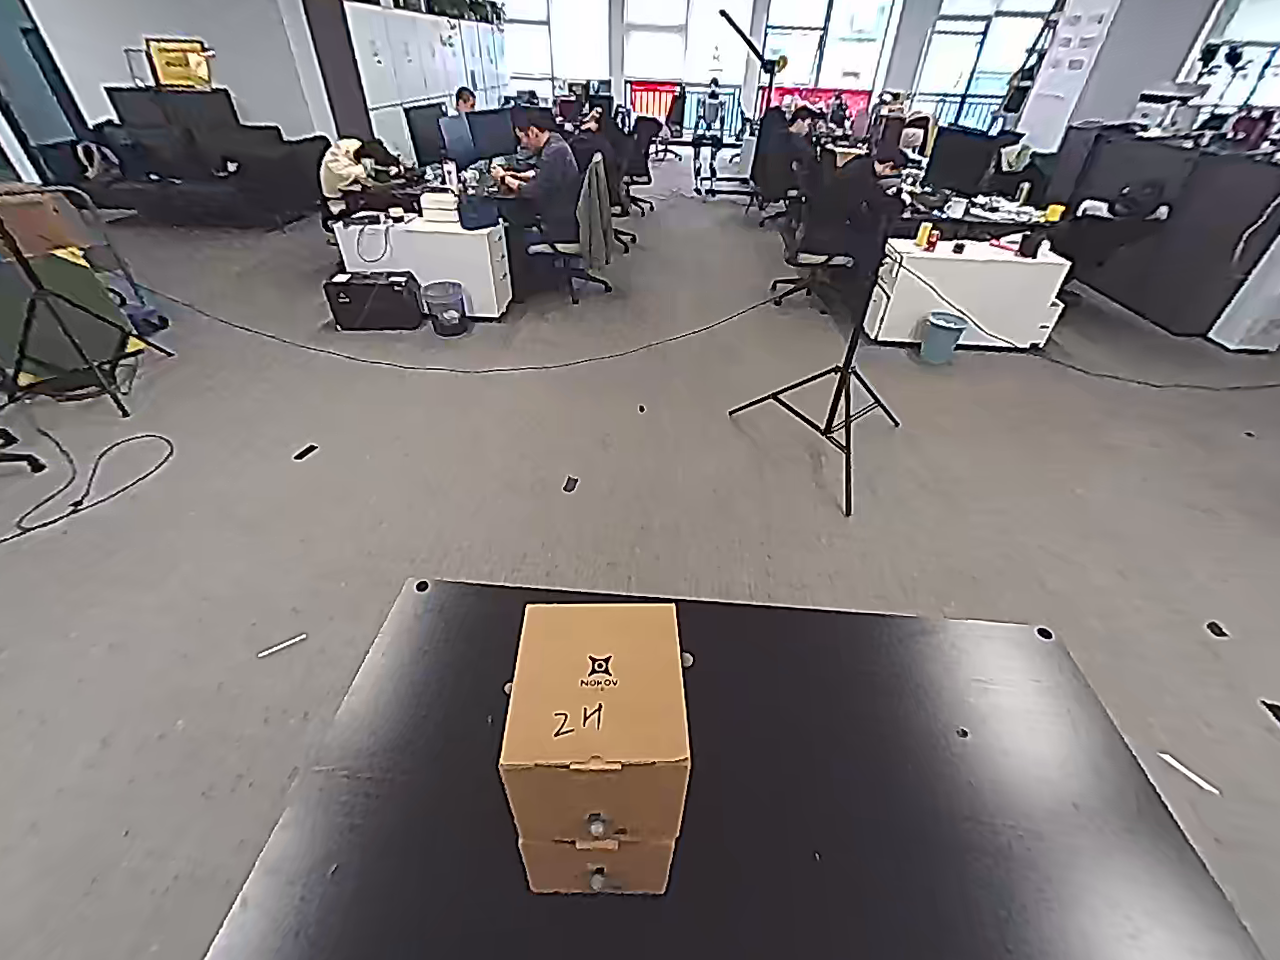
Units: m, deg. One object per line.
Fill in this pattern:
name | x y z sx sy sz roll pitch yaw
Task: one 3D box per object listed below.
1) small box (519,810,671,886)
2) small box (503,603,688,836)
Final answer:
small box | -0.047 0.388 0.682 0.168 0.176 0.179 1 38 -1
small box | -0.042 0.254 0.584 0.168 0.176 0.179 0 38 -2
